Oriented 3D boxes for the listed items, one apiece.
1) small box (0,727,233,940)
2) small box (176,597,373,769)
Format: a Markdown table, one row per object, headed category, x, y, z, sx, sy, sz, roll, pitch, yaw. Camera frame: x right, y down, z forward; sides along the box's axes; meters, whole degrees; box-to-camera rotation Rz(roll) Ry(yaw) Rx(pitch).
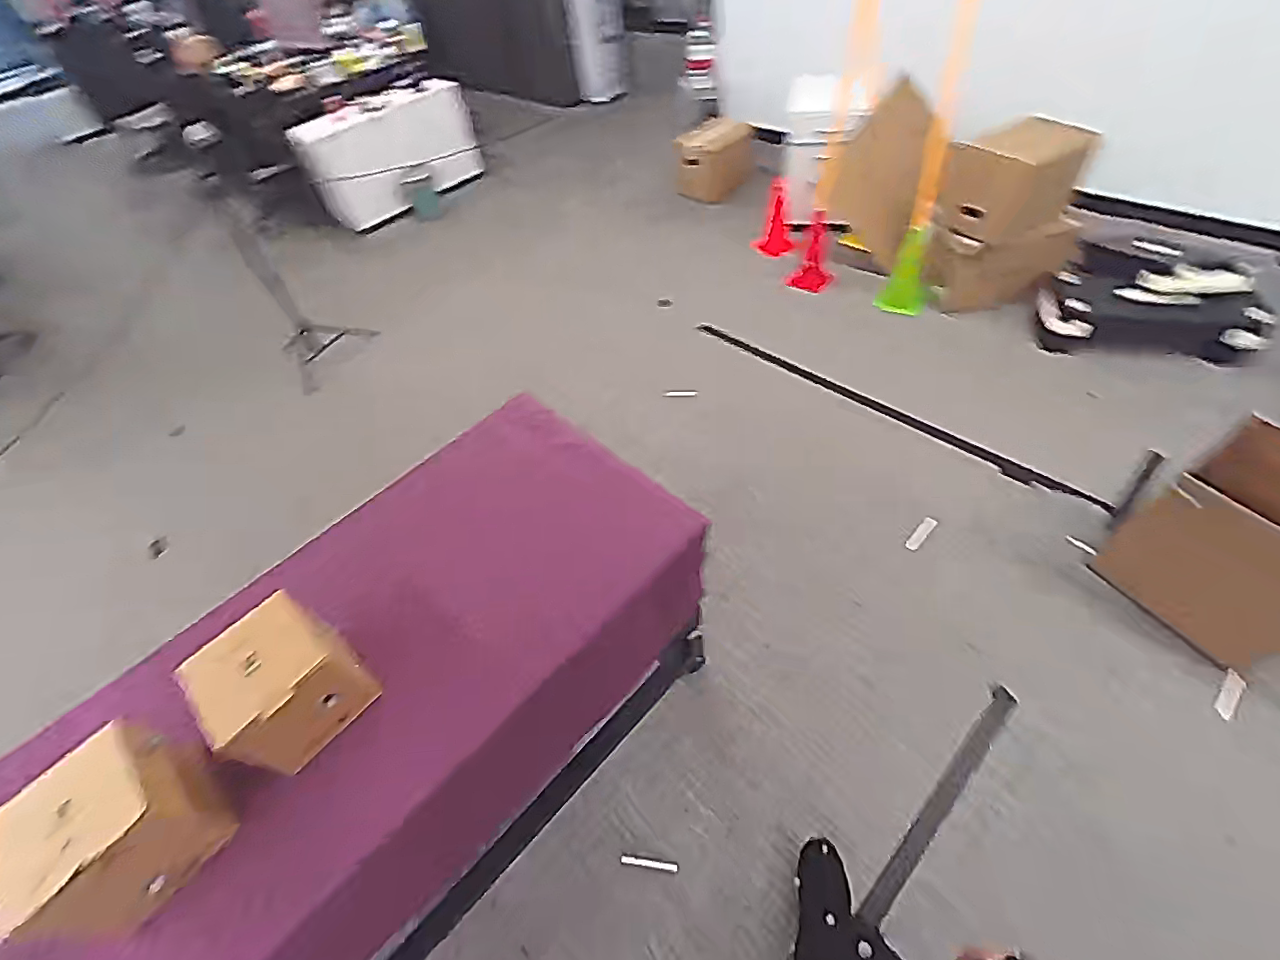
| category | x | y | z | sx | sy | sz | roll | pitch | yaw |
| --- | --- | --- | --- | --- | --- | --- | --- | --- | --- |
| small box | -0.723 | 0.486 | 0.746 | 0.179 | 0.176 | 0.168 | 31 | 62 | 29 |
| small box | -0.563 | 0.325 | 0.854 | 0.179 | 0.176 | 0.168 | 32 | 62 | 30 |
